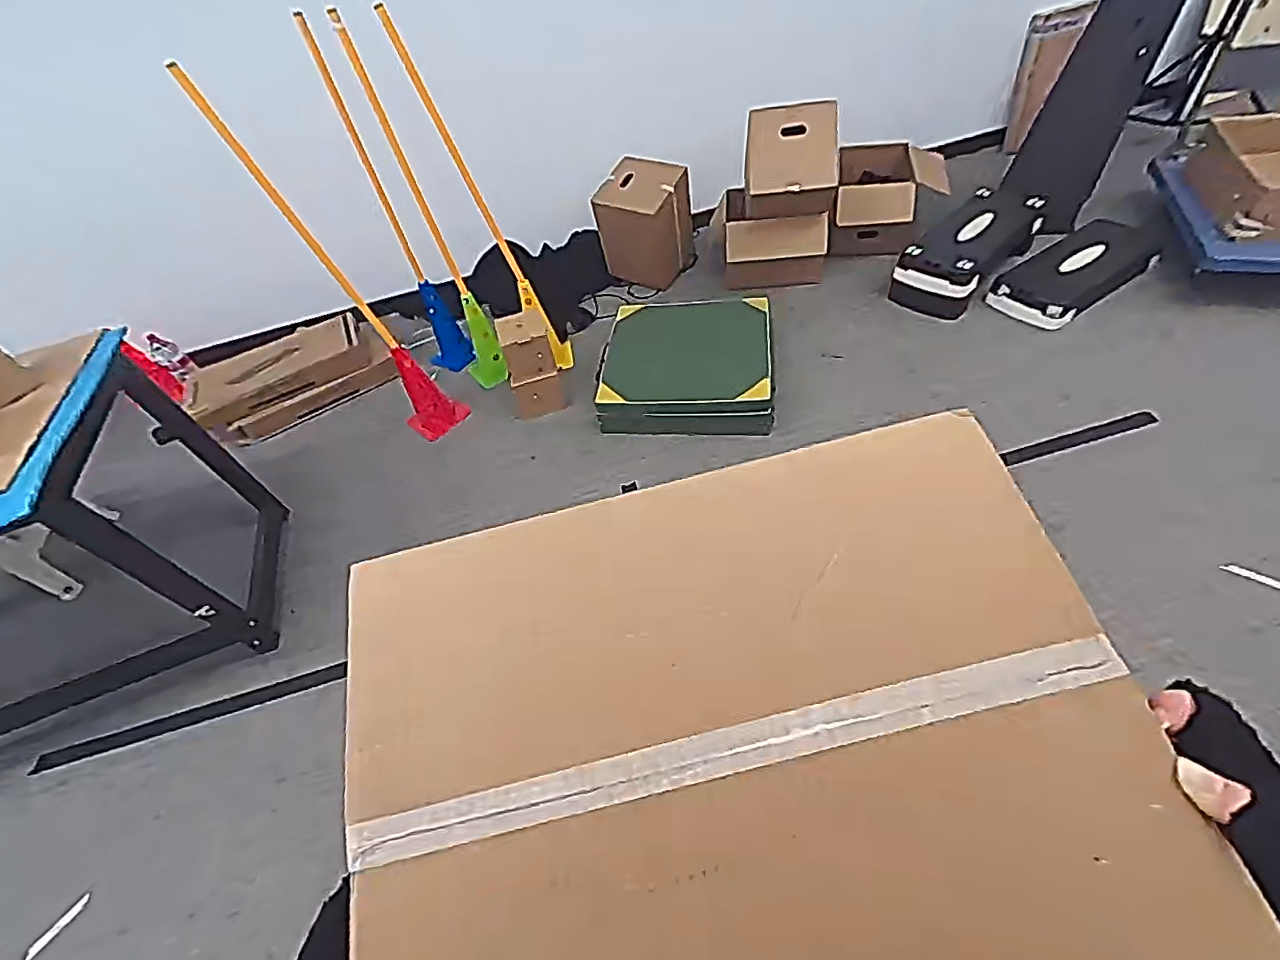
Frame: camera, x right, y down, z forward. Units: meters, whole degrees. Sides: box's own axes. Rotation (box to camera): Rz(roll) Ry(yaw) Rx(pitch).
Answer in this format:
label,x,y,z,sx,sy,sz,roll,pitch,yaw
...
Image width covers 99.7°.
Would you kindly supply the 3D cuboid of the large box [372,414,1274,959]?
label,x,y,z,sx,sy,sz,roll,pitch,yaw
large box,0.064,0.203,0.424,0.408,0.320,0.320,-15,65,1
